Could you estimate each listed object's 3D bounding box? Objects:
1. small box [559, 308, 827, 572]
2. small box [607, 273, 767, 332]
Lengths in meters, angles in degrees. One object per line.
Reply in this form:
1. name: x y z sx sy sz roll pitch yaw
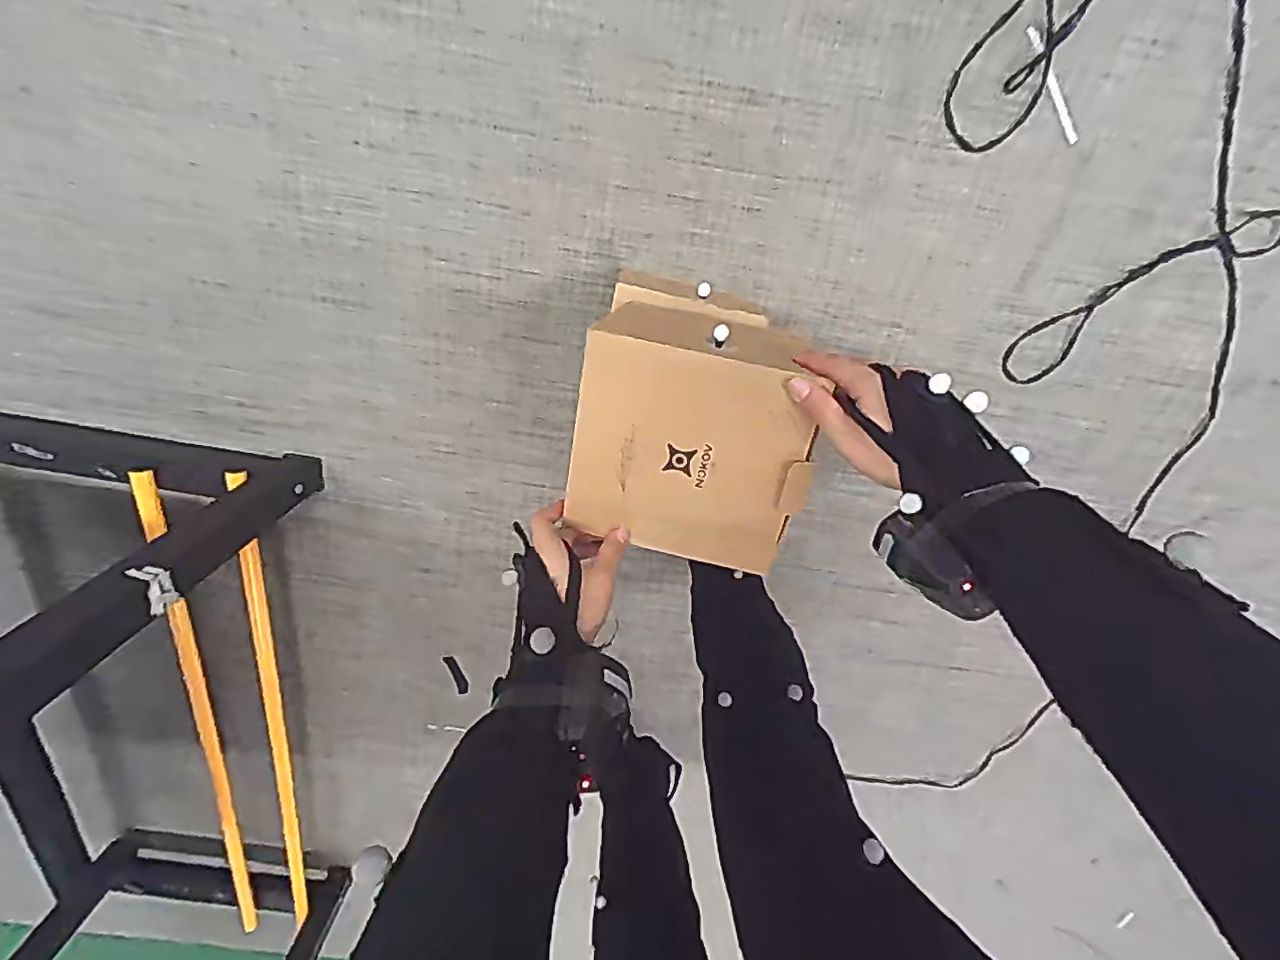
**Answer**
1. small box: 0.043 -0.048 0.479 0.179 0.176 0.168 13 115 4
2. small box: 0.041 -0.160 0.695 0.179 0.176 0.168 11 115 -5
